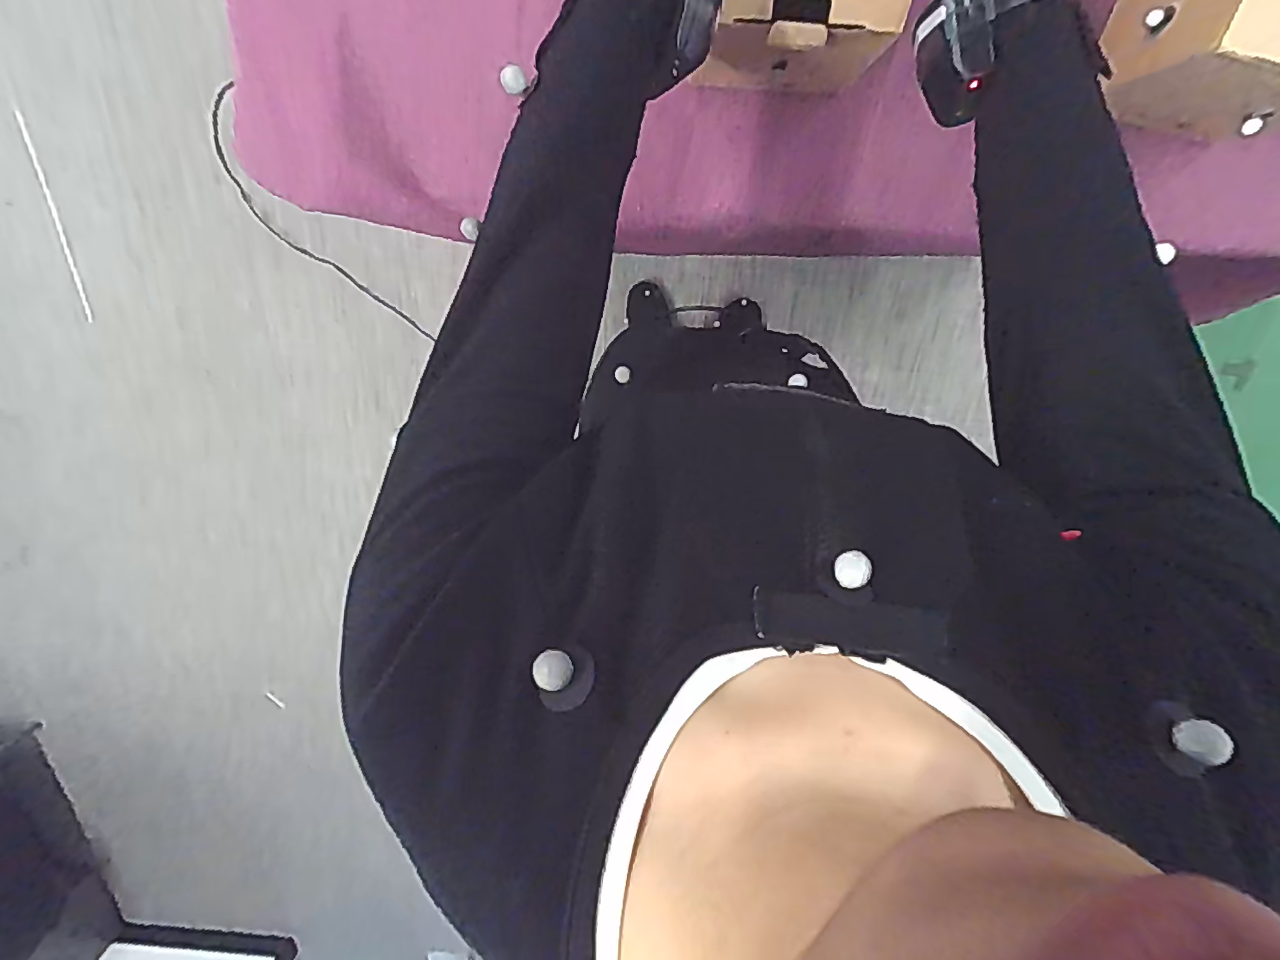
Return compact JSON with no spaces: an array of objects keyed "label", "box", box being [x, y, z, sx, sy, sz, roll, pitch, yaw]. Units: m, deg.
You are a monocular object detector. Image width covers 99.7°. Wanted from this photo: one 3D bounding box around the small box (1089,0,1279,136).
[{"label":"small box","box":[0.537,-0.415,0.452,0.168,0.176,0.179,14,112,-2]}]
